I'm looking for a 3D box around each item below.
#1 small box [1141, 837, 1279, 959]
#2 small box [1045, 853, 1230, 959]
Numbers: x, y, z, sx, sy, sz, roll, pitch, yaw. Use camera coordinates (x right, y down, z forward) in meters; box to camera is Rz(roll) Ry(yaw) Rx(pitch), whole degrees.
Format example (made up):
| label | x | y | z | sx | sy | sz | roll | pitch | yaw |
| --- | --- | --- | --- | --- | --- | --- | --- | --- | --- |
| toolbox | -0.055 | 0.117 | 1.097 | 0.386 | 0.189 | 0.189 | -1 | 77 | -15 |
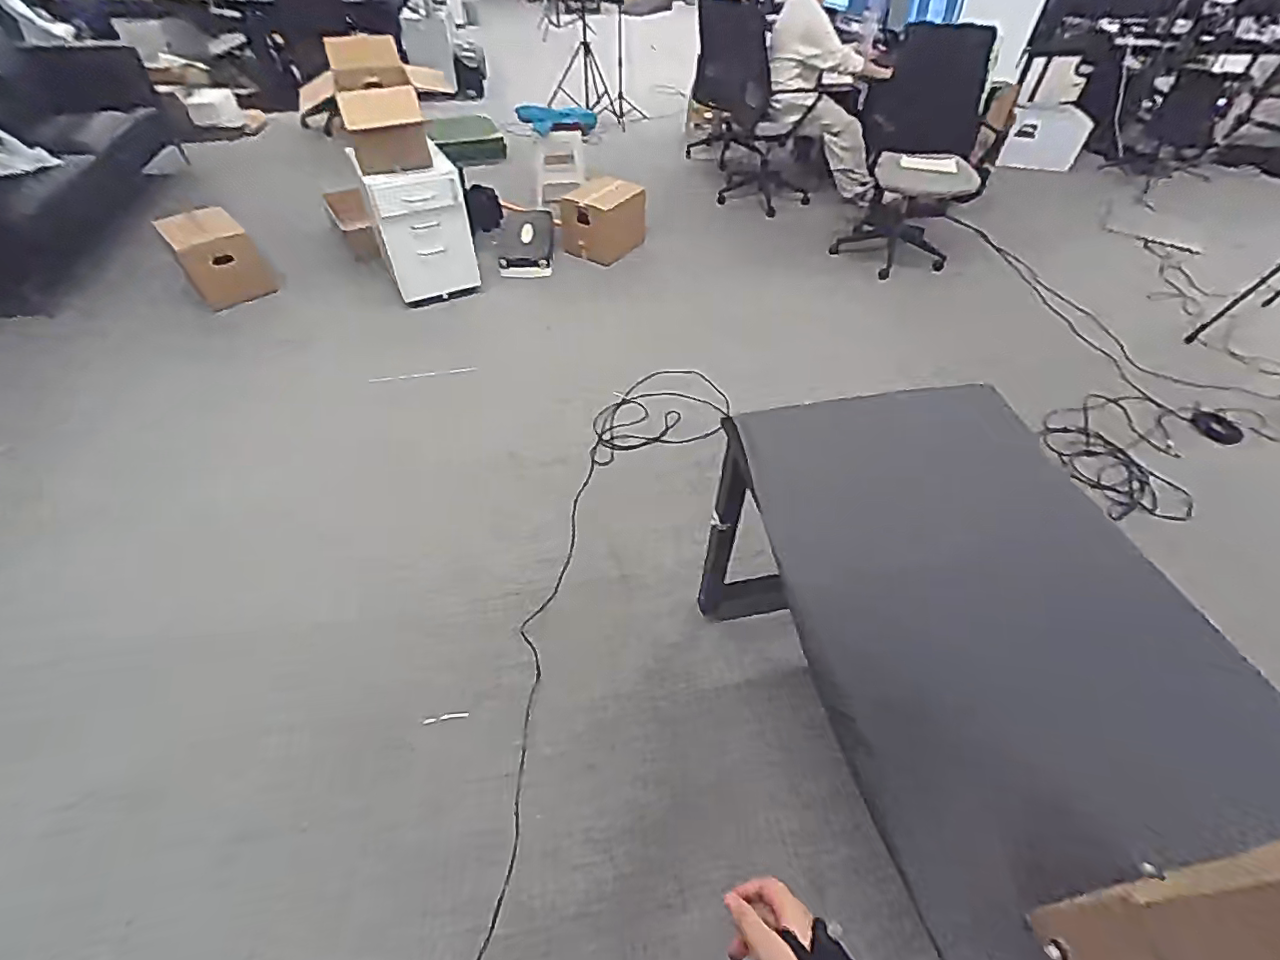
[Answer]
| label | x | y | z | sx | sy | sz | roll | pitch | yaw |
| --- | --- | --- | --- | --- | --- | --- | --- | --- | --- |
| small box | 0.530 | 0.353 | 0.379 | 0.179 | 0.176 | 0.168 | -9 | 47 | -12 |
| small box | 0.525 | 0.465 | 0.496 | 0.179 | 0.176 | 0.168 | -5 | 47 | -11 |
